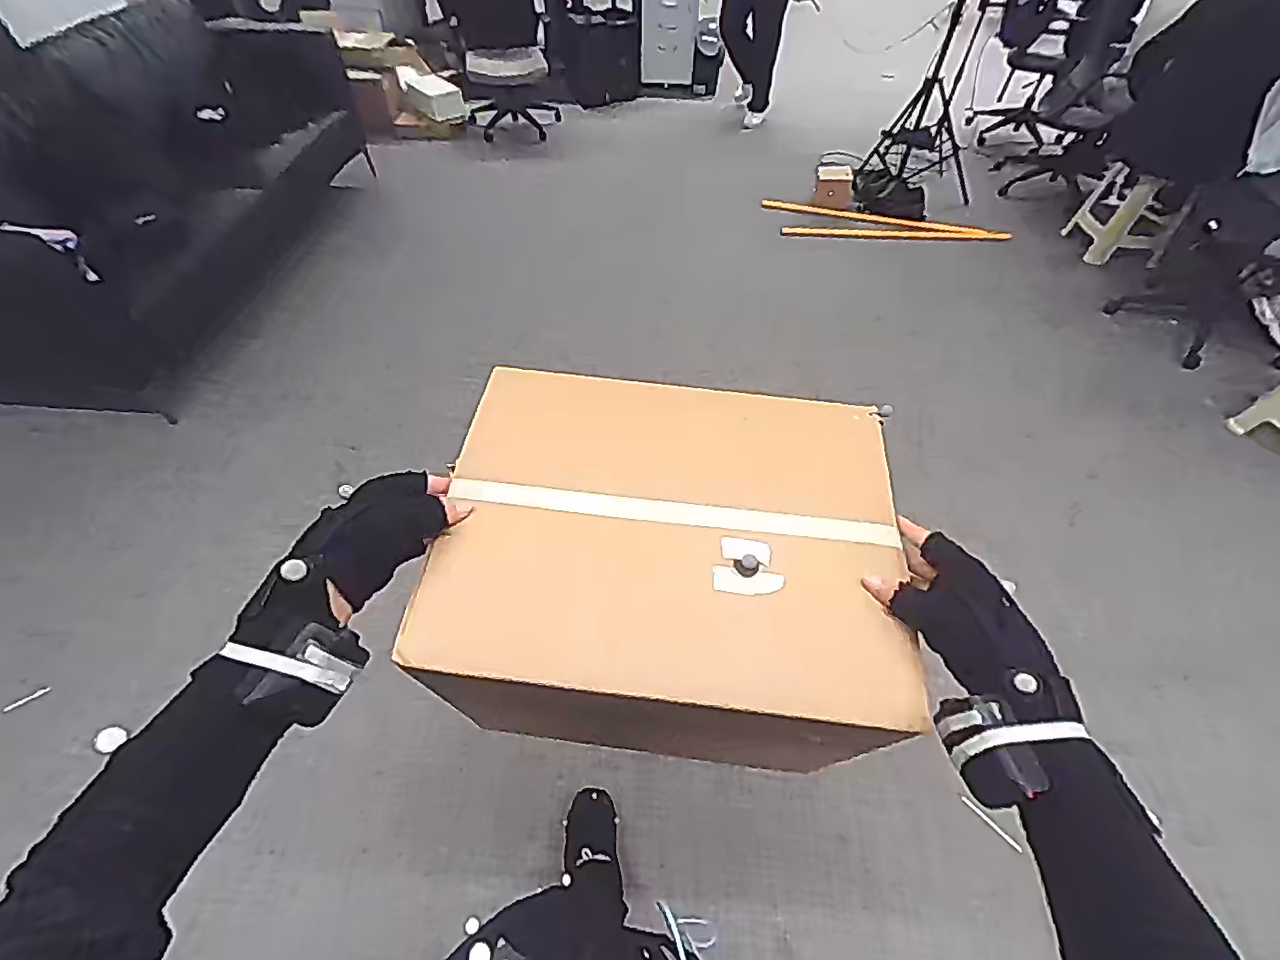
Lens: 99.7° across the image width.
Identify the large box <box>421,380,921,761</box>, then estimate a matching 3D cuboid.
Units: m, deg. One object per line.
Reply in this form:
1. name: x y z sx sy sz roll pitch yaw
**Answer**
1. large box: 0.028 0.118 0.626 0.408 0.320 0.320 7 57 1
